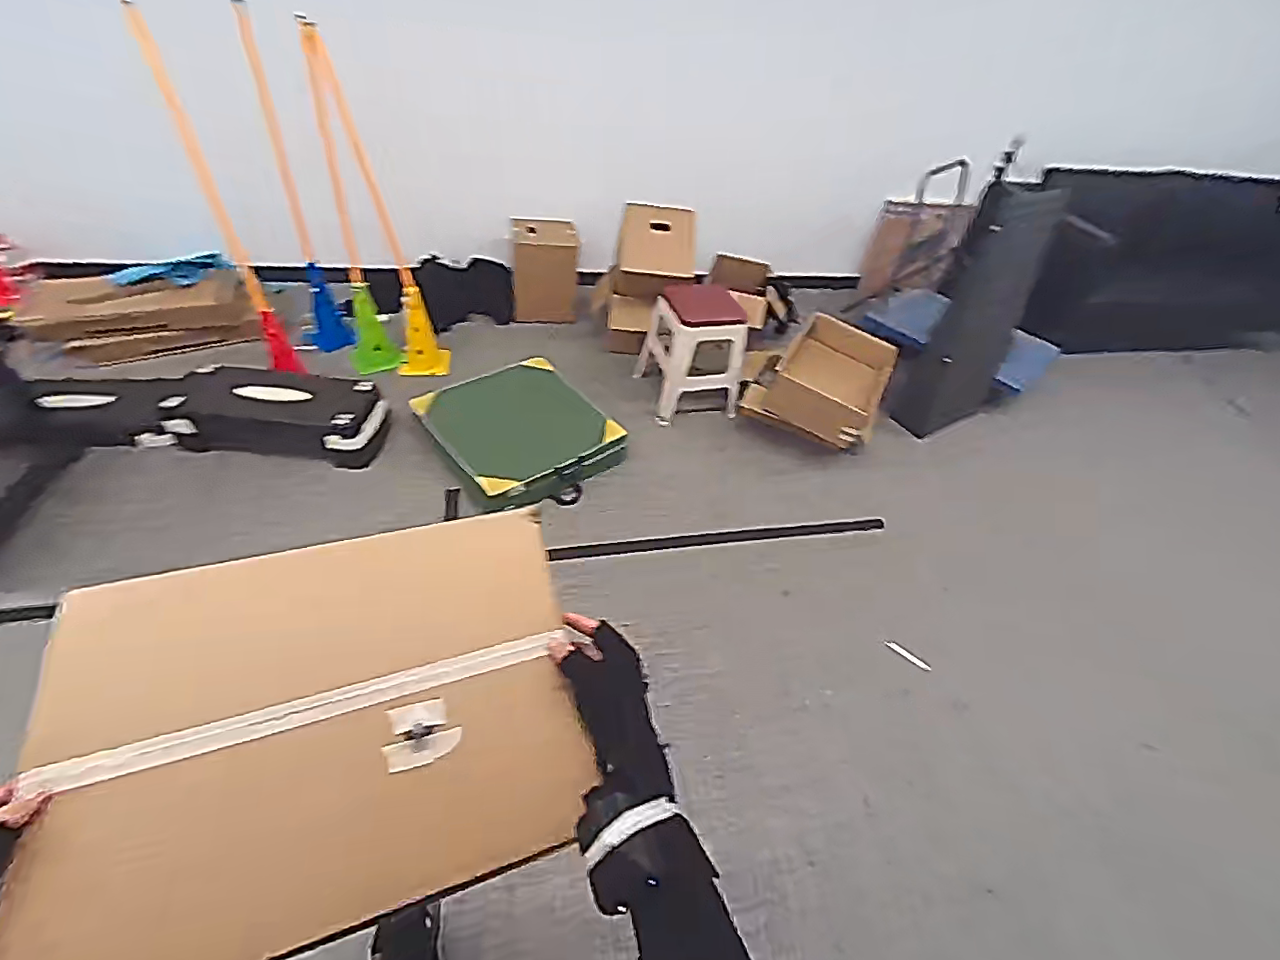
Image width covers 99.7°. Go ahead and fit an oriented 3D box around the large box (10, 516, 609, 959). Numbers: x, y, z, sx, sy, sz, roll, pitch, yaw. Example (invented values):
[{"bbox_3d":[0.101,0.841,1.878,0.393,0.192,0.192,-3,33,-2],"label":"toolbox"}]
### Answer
[{"bbox_3d":[-0.286,0.281,0.584,0.408,0.320,0.320,-10,58,-20],"label":"large box"}]
